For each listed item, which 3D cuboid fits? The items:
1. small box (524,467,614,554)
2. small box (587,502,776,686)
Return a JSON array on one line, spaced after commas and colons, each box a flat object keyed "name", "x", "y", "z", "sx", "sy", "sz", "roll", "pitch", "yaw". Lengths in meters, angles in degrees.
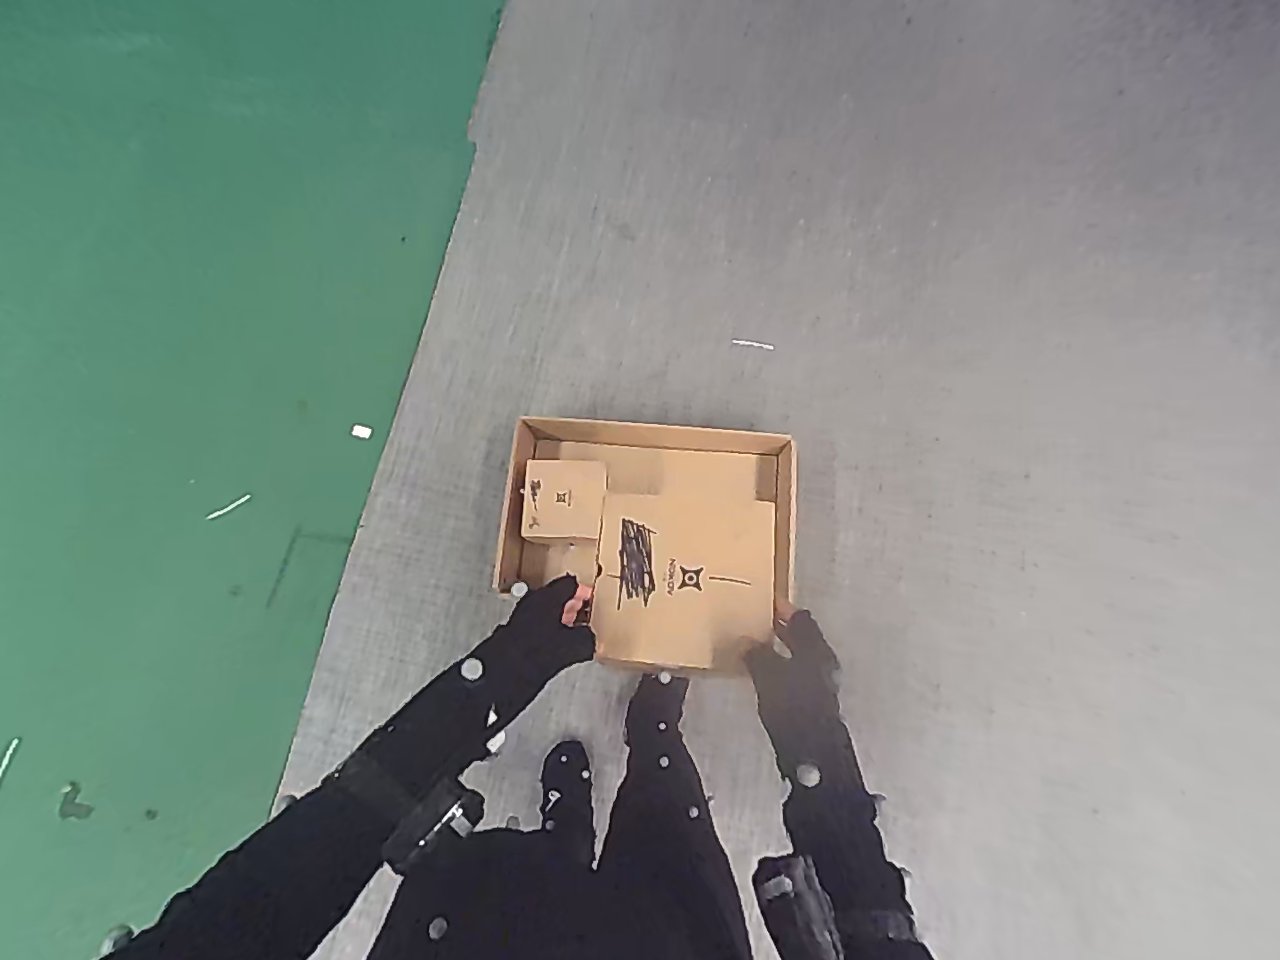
[{"name": "small box", "x": -0.150, "y": 0.074, "z": 1.206, "sx": 0.179, "sy": 0.176, "sz": 0.168, "roll": 2, "pitch": 76, "yaw": 1}, {"name": "small box", "x": 0.052, "y": 0.133, "z": 0.598, "sx": 0.179, "sy": 0.176, "sz": 0.168, "roll": 3, "pitch": 67, "yaw": 7}]
